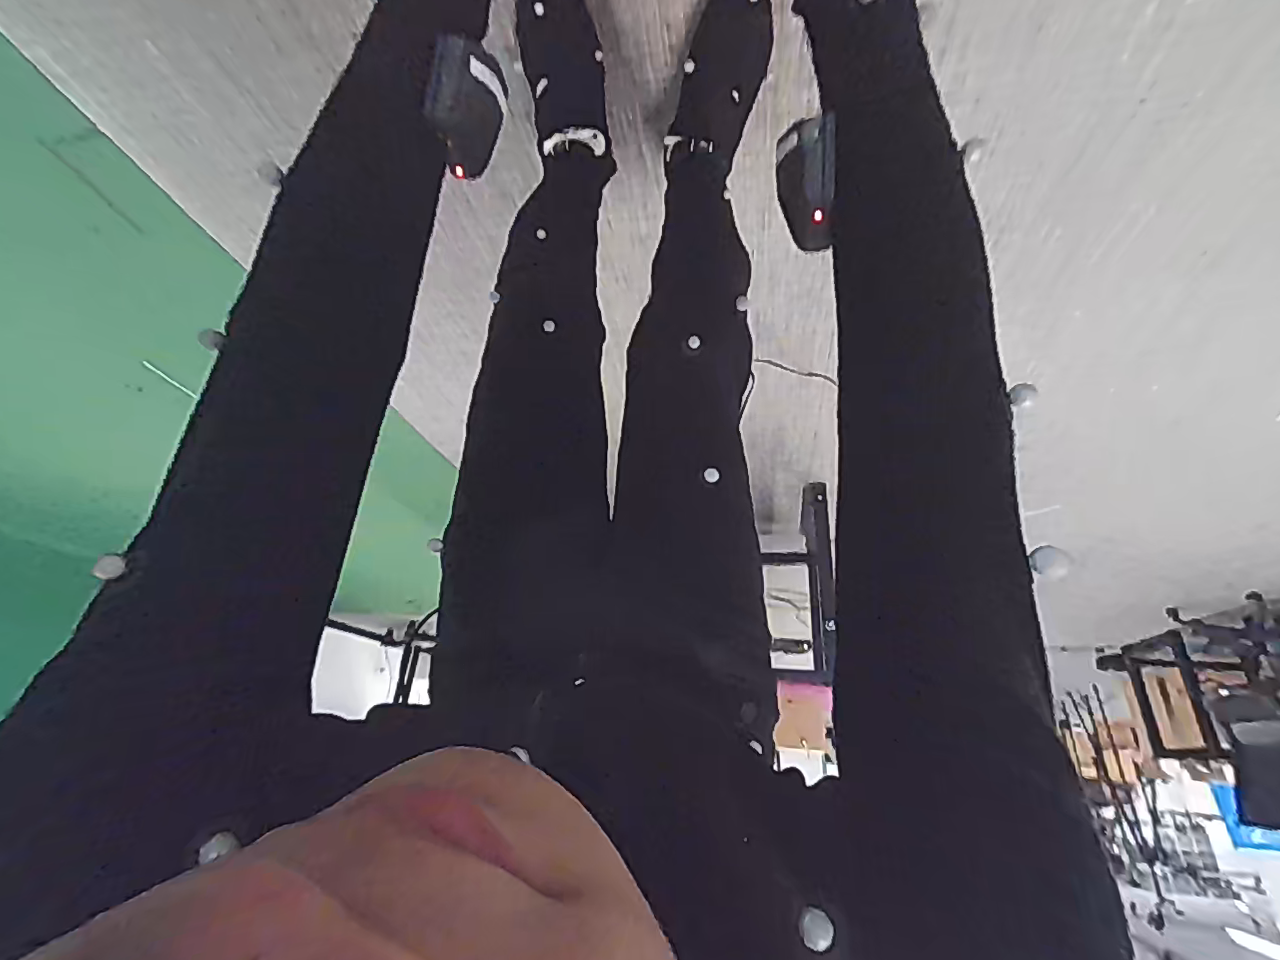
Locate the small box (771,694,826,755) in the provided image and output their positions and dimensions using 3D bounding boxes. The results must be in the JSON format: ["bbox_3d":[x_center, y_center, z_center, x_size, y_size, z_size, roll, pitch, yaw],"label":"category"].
[{"bbox_3d":[0.531,0.827,1.828,0.168,0.176,0.179,-2,153,13],"label":"small box"}]

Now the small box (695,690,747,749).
[{"bbox_3d":[0.287,0.838,1.887,0.168,0.176,0.179,-3,152,13],"label":"small box"}]
